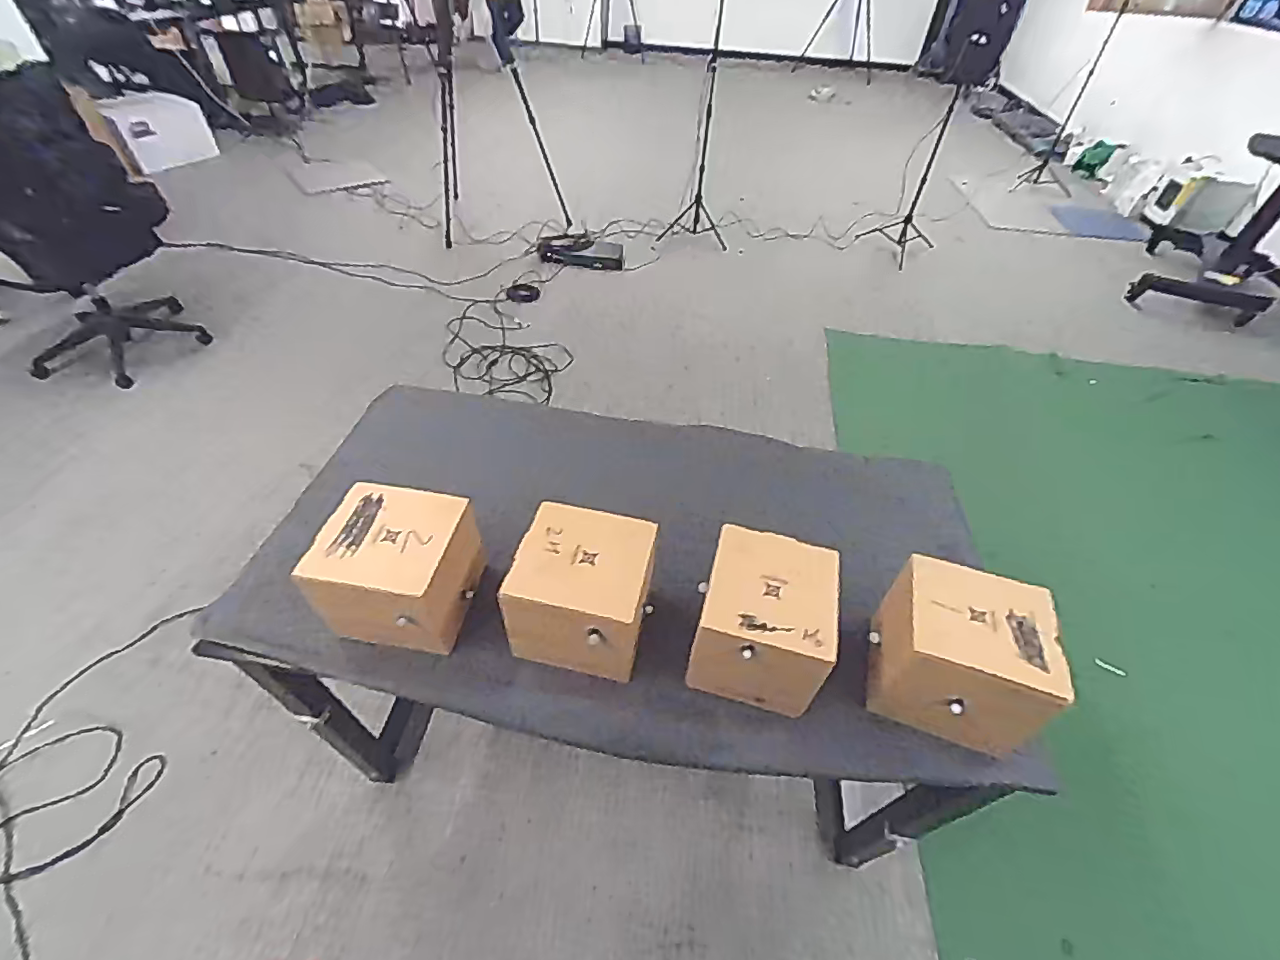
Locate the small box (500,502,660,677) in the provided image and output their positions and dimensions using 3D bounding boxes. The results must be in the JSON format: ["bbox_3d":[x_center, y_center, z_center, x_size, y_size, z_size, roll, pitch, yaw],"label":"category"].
[{"bbox_3d":[-0.077,0.160,0.776,0.179,0.176,0.168,10,45,8],"label":"small box"}]

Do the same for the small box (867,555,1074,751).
[{"bbox_3d":[0.428,0.235,0.728,0.179,0.176,0.168,16,44,14],"label":"small box"}]
